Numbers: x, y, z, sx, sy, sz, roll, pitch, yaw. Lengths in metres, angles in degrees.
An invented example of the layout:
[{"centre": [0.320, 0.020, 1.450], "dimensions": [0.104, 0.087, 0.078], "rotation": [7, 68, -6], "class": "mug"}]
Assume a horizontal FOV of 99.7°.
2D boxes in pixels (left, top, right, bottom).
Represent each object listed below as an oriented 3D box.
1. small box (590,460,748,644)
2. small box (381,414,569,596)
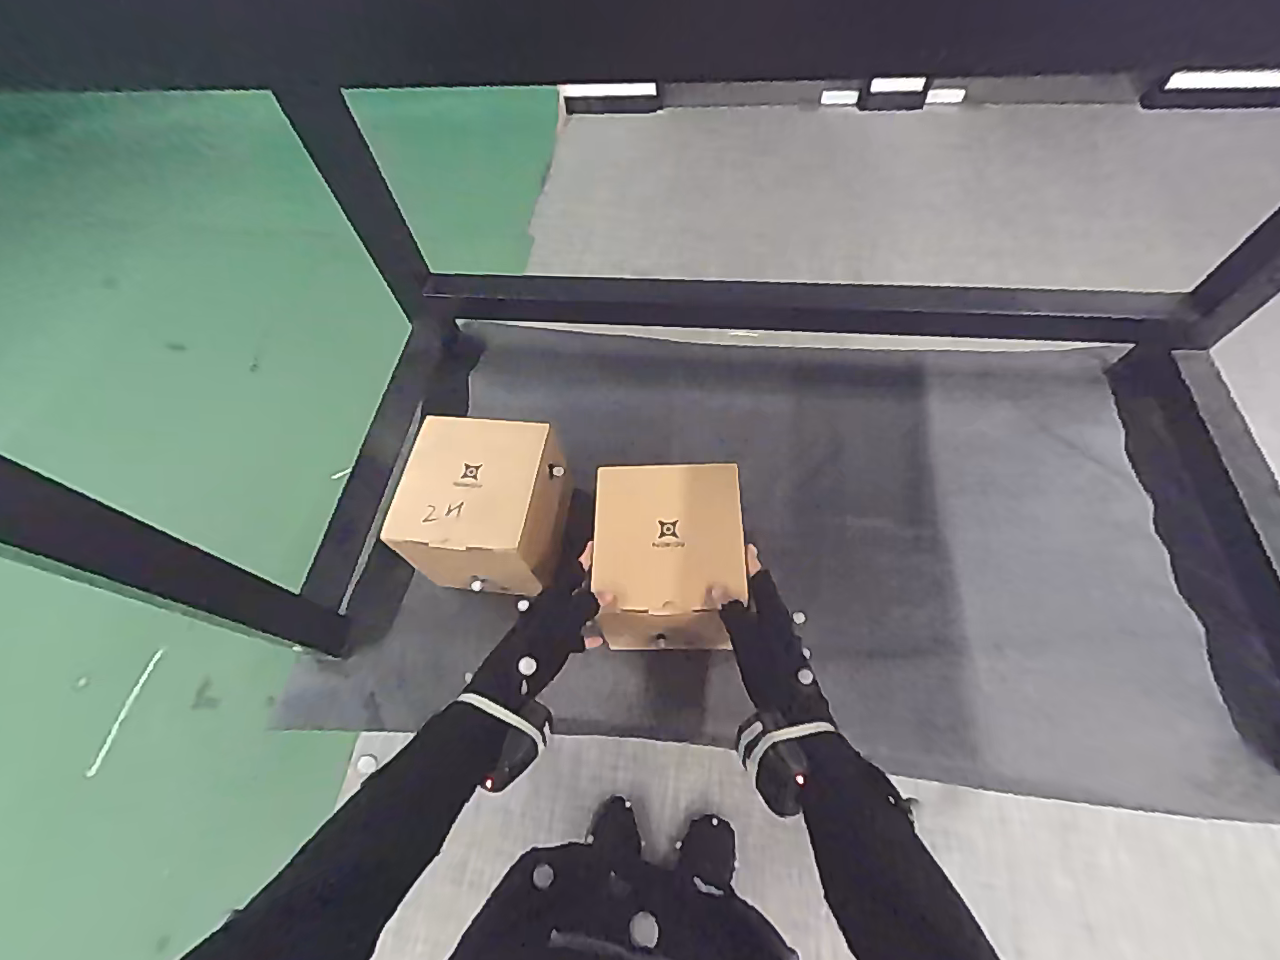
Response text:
[{"centre": [0.035, 0.093, 0.662], "dimensions": [0.168, 0.176, 0.179], "rotation": [-2, 60, 4], "class": "small box"}, {"centre": [-0.198, 0.036, 0.713], "dimensions": [0.168, 0.176, 0.179], "rotation": [4, 60, 8], "class": "small box"}]
